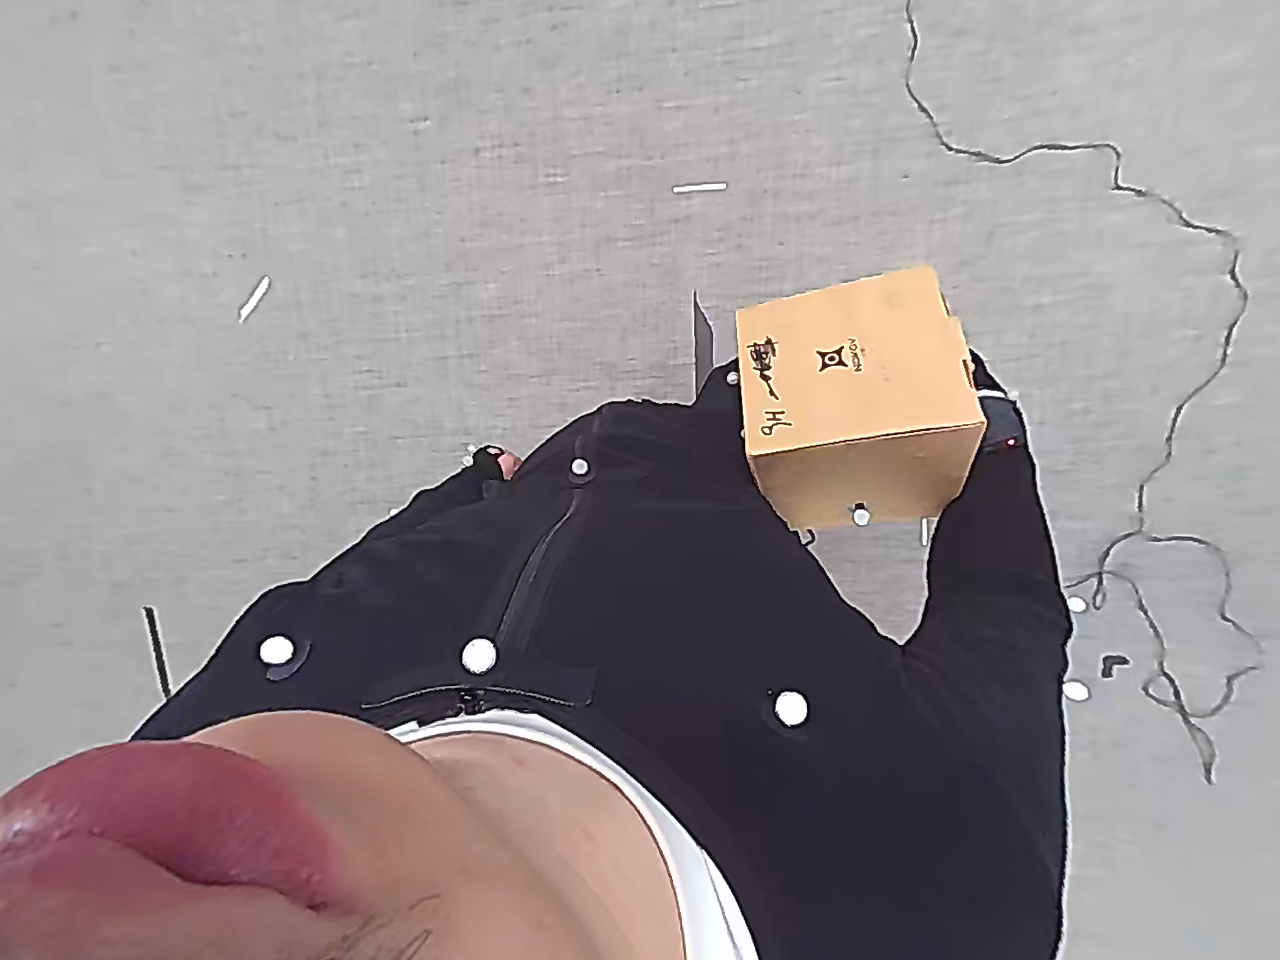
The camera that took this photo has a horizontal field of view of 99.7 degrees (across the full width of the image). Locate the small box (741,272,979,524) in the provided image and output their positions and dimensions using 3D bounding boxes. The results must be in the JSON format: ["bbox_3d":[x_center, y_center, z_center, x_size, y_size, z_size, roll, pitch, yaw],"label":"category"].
[{"bbox_3d":[0.203,-0.068,0.536,0.179,0.176,0.168,-8,59,17],"label":"small box"}]
